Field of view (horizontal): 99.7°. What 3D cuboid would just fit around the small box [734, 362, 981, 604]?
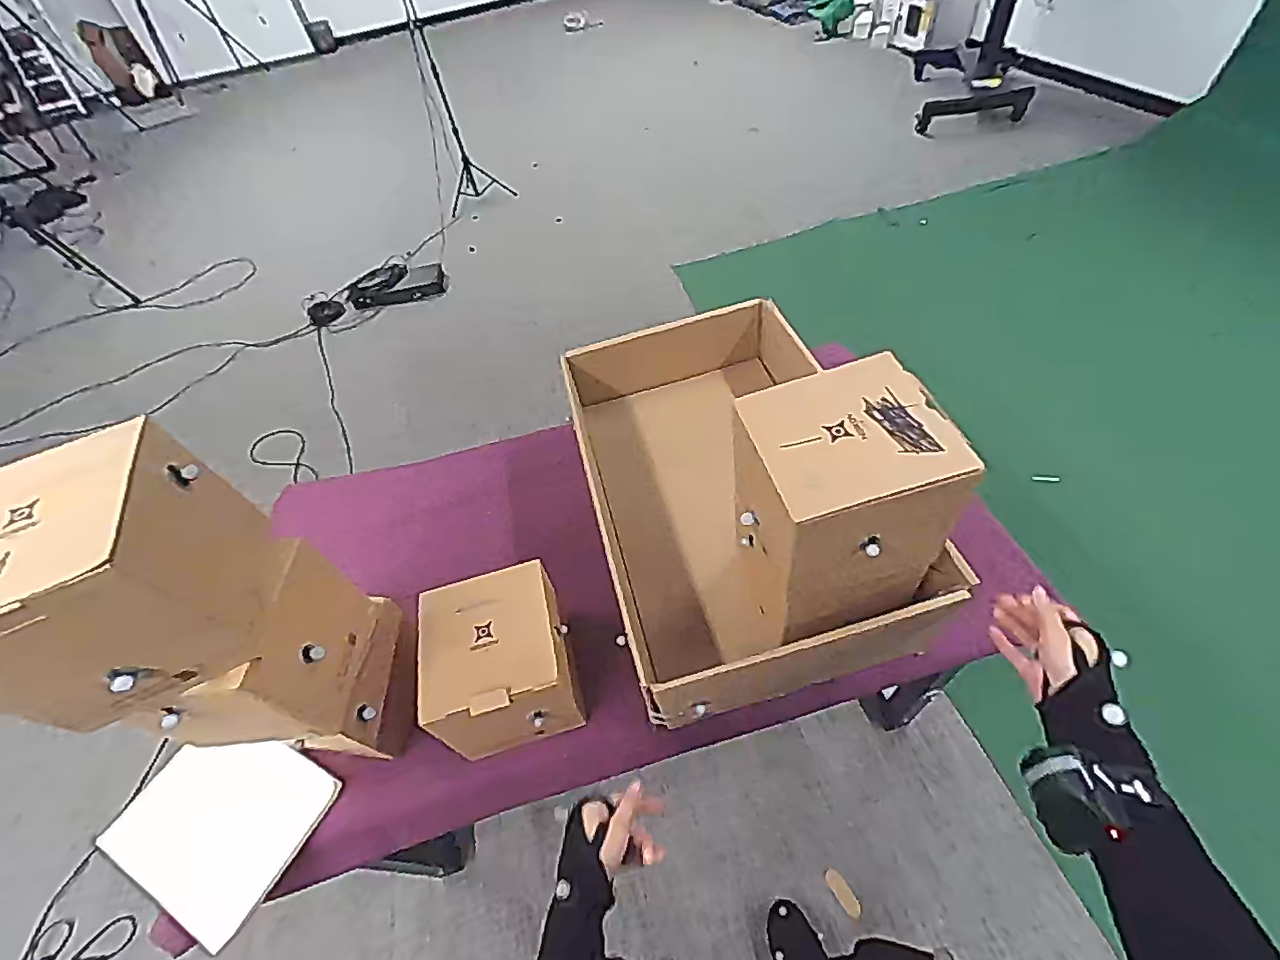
[{"bbox_3d":[0.209,0.008,0.577,0.179,0.176,0.168,-16,51,0],"label":"small box"}]

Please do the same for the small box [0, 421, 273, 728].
[{"bbox_3d":[-0.461,0.085,0.479,0.168,0.176,0.179,-24,52,-9],"label":"small box"}]

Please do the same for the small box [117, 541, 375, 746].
[{"bbox_3d":[-0.433,0.187,0.605,0.179,0.176,0.168,-6,51,5],"label":"small box"}]
